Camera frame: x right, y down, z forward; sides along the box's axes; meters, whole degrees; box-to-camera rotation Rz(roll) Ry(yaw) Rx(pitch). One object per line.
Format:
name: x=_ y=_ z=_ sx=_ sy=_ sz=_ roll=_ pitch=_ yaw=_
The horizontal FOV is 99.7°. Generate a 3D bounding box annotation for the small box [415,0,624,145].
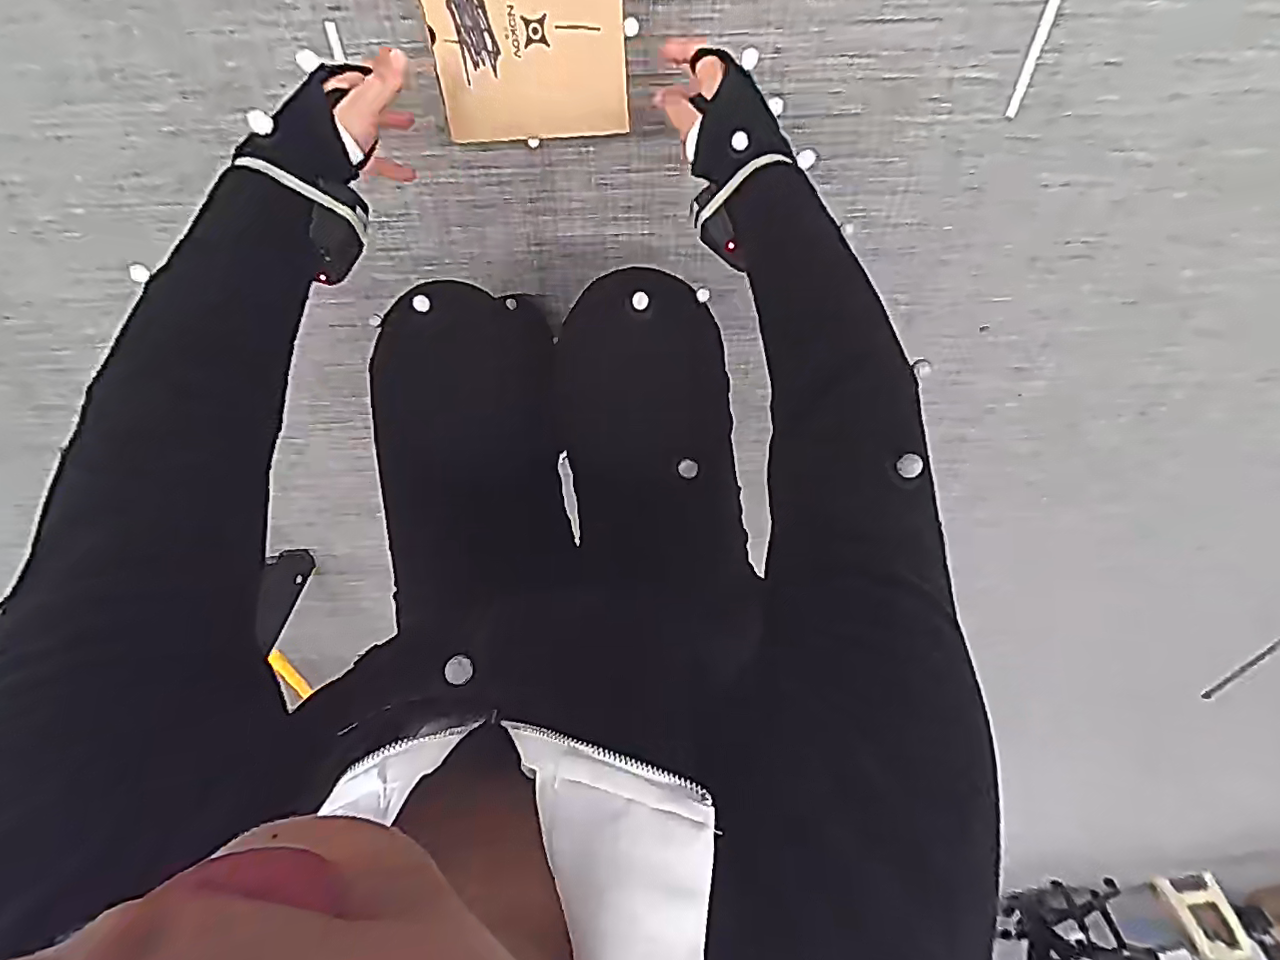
small box: x=-0.107 y=-0.446 z=0.540 sx=0.179 sy=0.176 sz=0.168 roll=-4 pitch=132 yaw=-1
